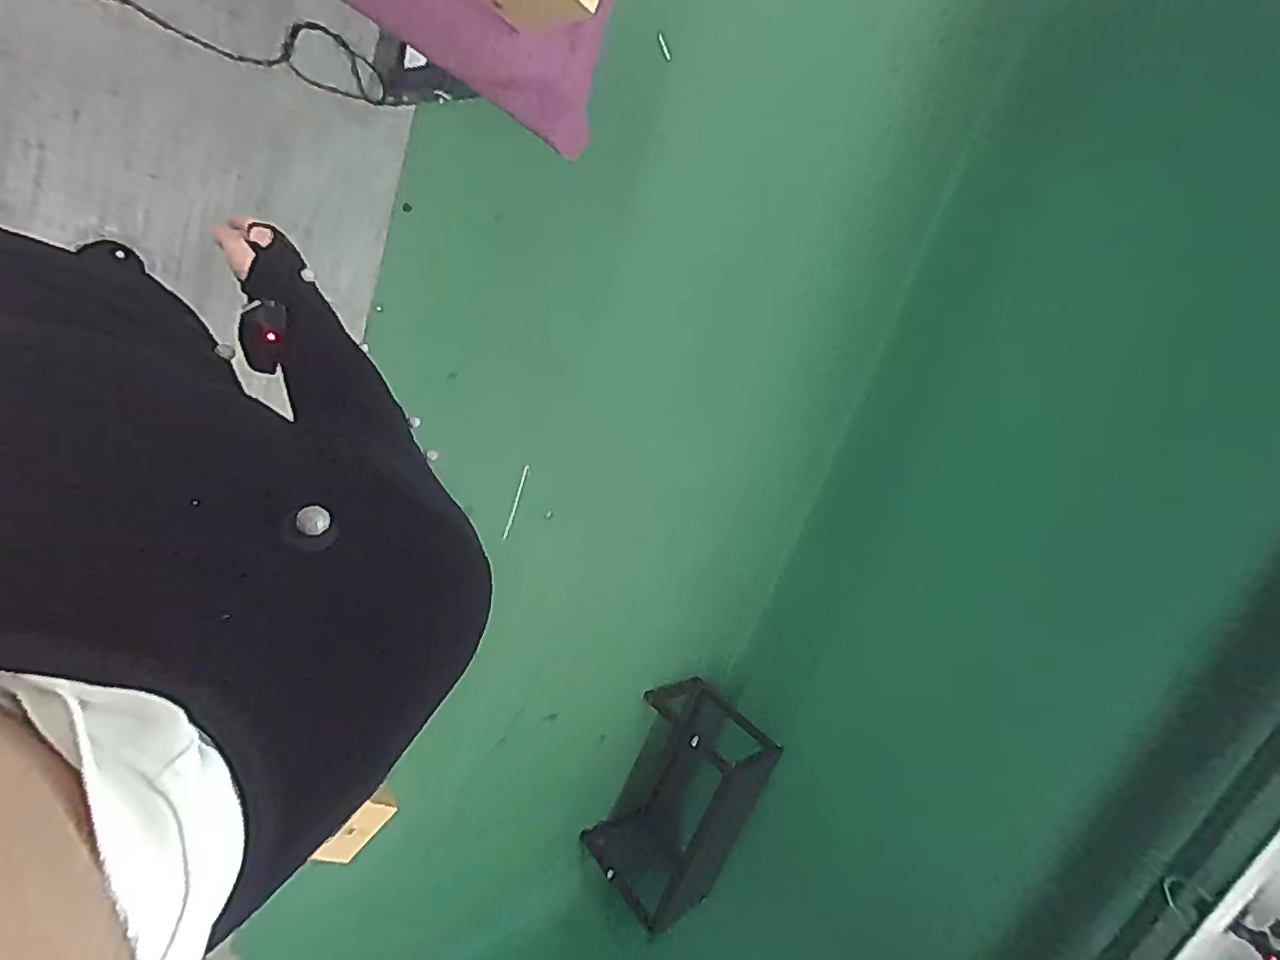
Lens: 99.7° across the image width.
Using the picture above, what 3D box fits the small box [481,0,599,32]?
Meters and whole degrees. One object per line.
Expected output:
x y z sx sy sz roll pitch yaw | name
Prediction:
-0.139 -0.702 0.658 0.168 0.176 0.179 6 107 -47 | small box
